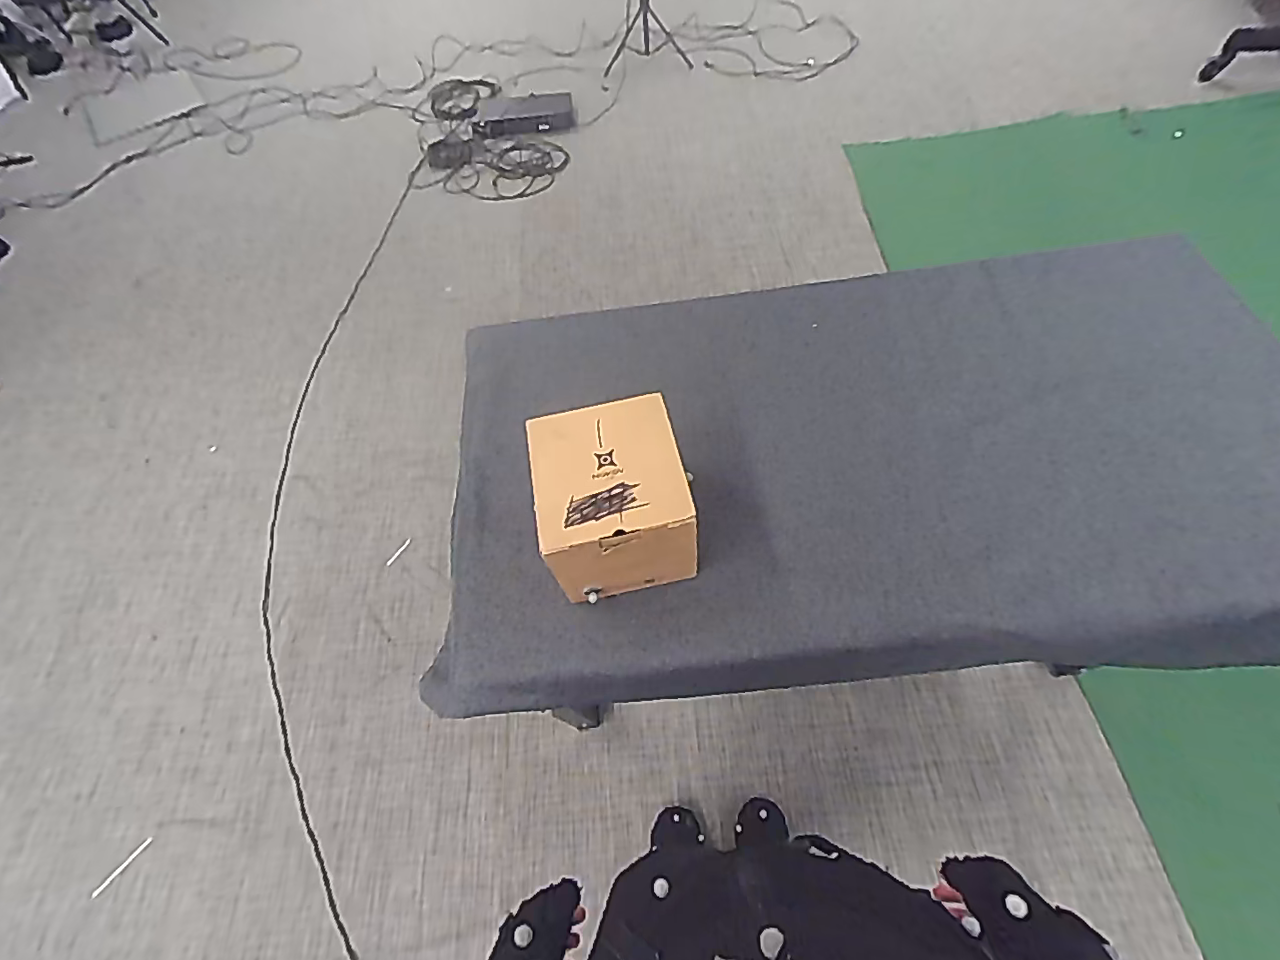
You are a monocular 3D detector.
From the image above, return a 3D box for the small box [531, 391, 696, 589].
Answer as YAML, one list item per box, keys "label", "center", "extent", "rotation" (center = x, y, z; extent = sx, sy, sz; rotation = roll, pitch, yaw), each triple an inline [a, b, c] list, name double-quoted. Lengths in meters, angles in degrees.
- label: "small box"
  center: [-0.027, 0.022, 0.669]
  extent: [0.168, 0.176, 0.179]
  rotation: [-12, 59, -1]
